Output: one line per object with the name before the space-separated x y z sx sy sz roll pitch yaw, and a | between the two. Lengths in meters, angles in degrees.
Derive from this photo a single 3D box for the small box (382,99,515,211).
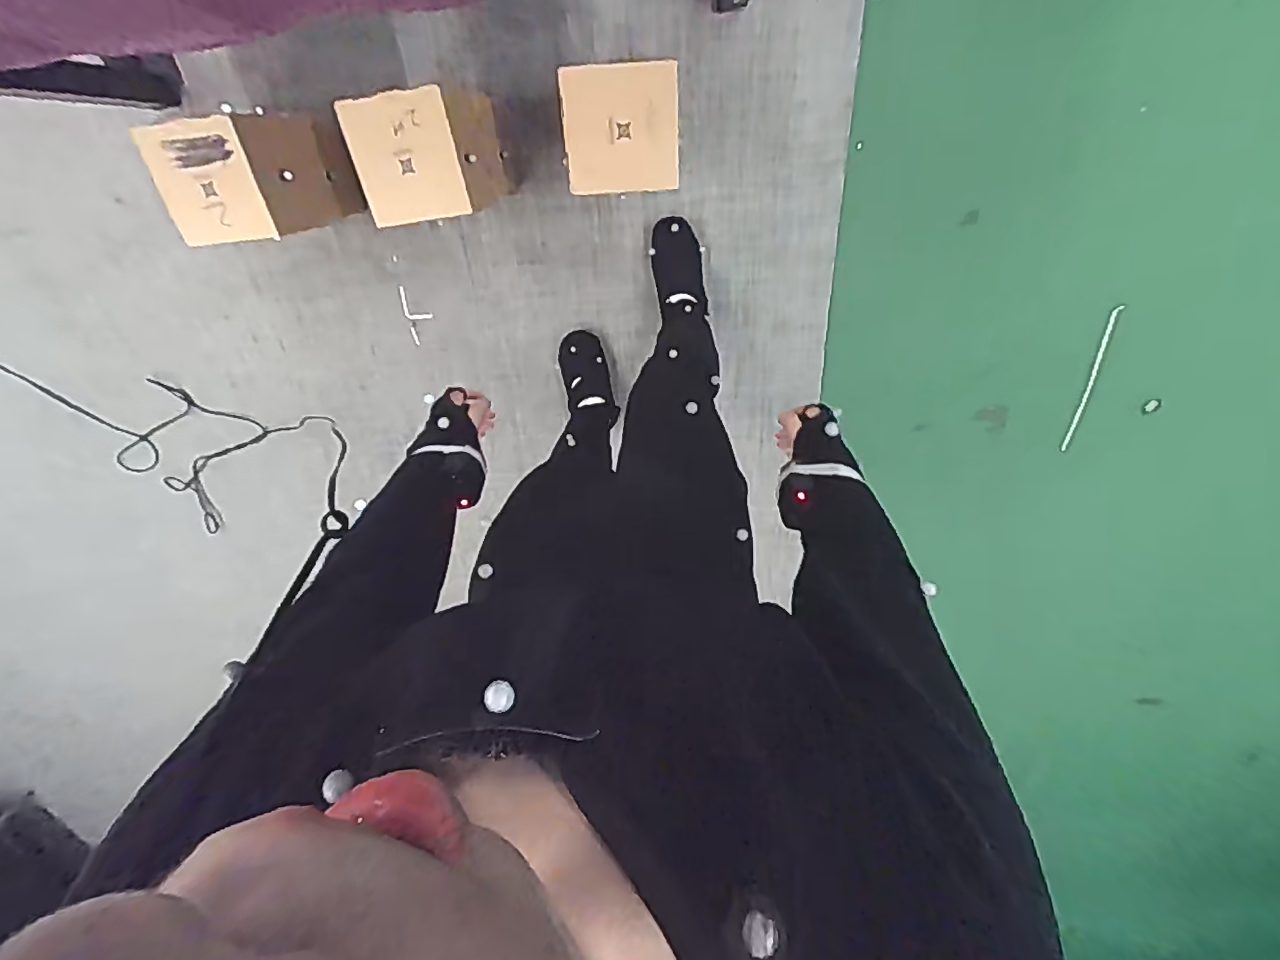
small box | -0.361 -0.629 1.055 0.179 0.176 0.168 -4 121 4
